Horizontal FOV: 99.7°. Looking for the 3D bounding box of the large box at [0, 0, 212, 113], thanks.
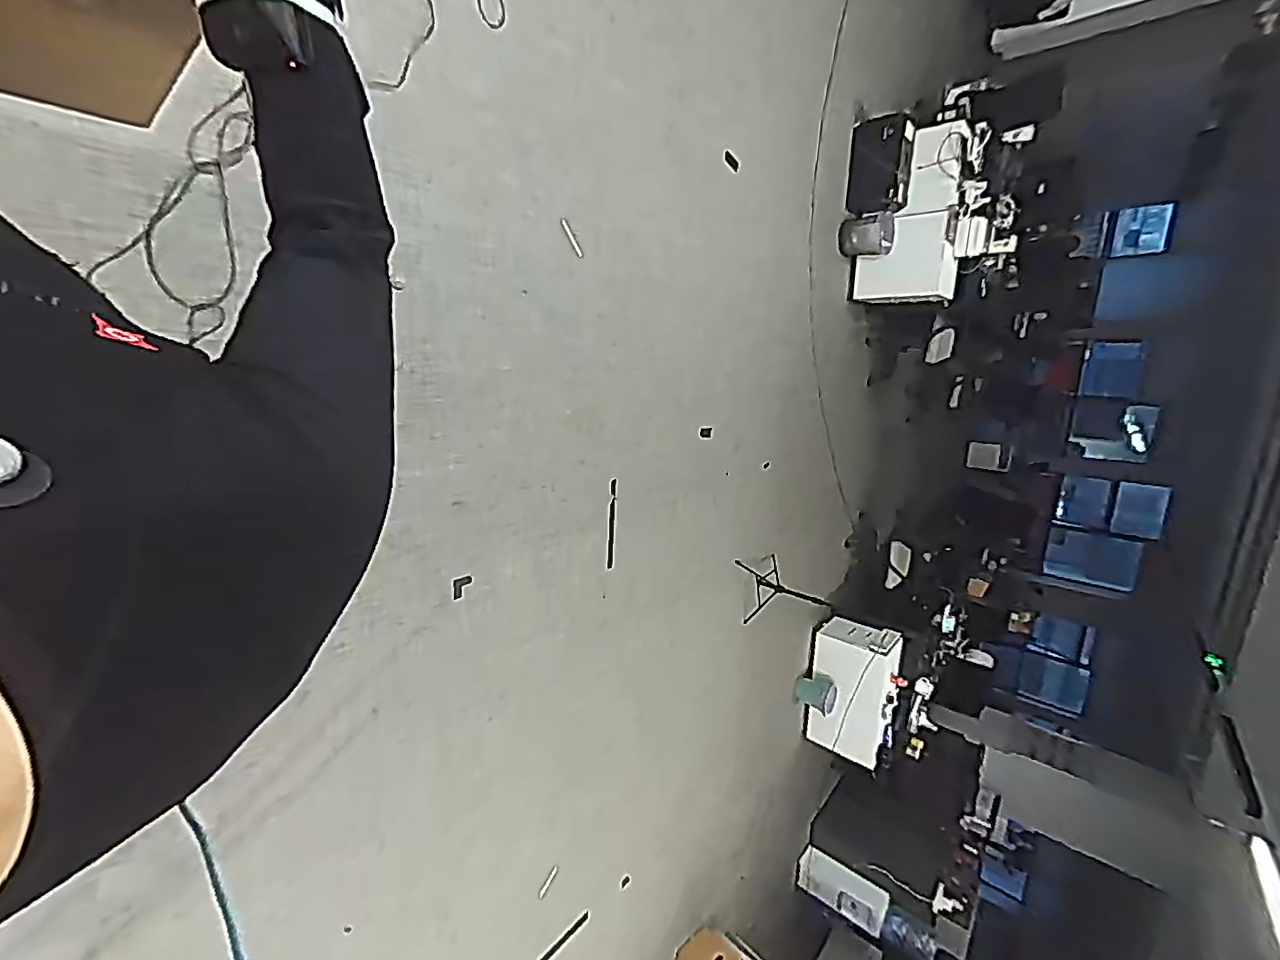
[{"bbox_3d":[-0.520,-0.464,0.279,0.408,0.320,0.320,-14,109,-48],"label":"large box"}]
